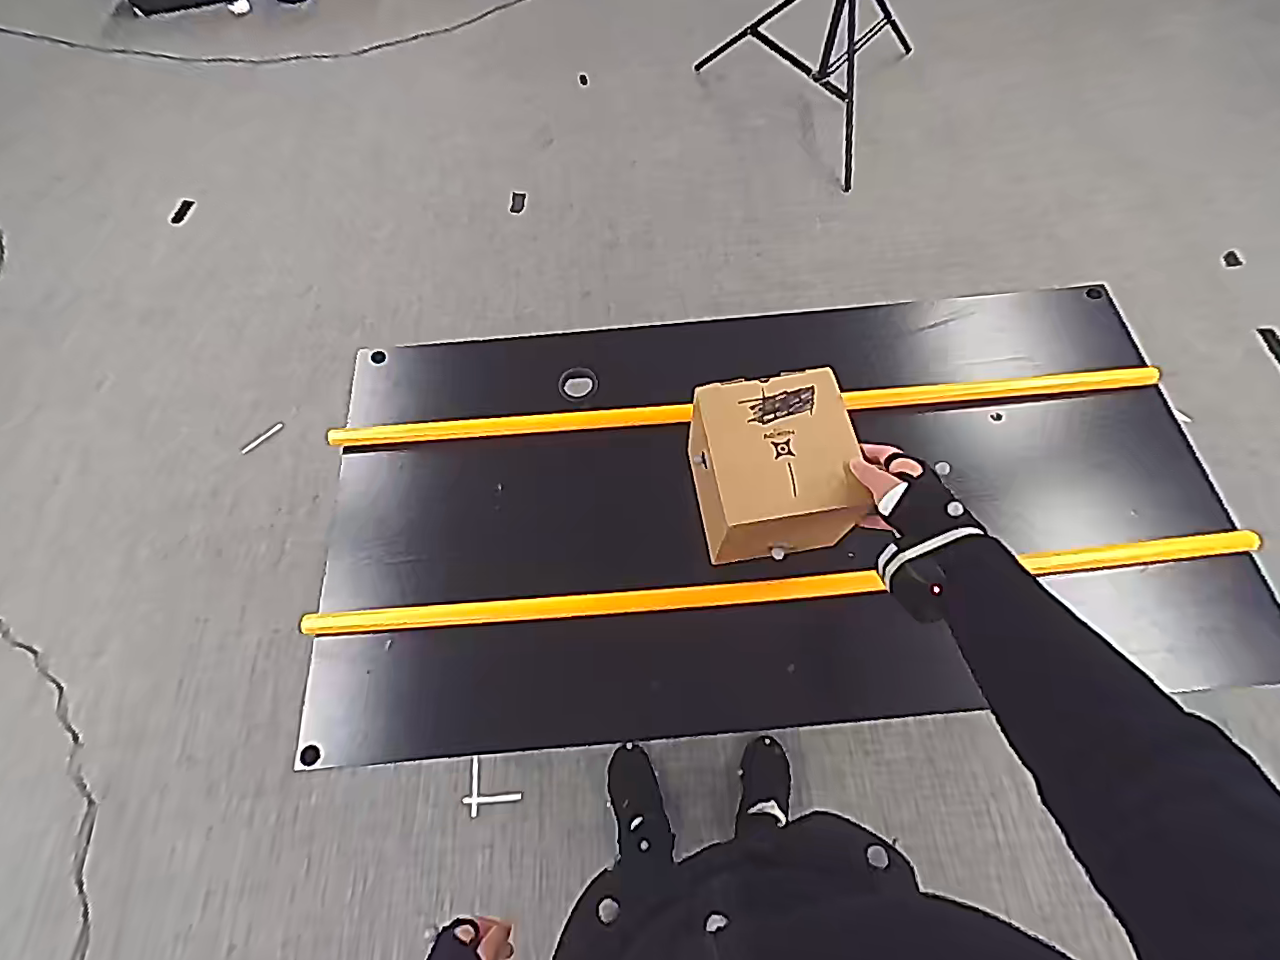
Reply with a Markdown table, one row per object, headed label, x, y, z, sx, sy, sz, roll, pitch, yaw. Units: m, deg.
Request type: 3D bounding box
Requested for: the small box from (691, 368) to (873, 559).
| label | x | y | z | sx | sy | sz | roll | pitch | yaw |
| --- | --- | --- | --- | --- | --- | --- | --- | --- | --- |
| small box | 0.161 | -0.014 | 0.684 | 0.168 | 0.176 | 0.179 | -9 | 68 | -1 |
